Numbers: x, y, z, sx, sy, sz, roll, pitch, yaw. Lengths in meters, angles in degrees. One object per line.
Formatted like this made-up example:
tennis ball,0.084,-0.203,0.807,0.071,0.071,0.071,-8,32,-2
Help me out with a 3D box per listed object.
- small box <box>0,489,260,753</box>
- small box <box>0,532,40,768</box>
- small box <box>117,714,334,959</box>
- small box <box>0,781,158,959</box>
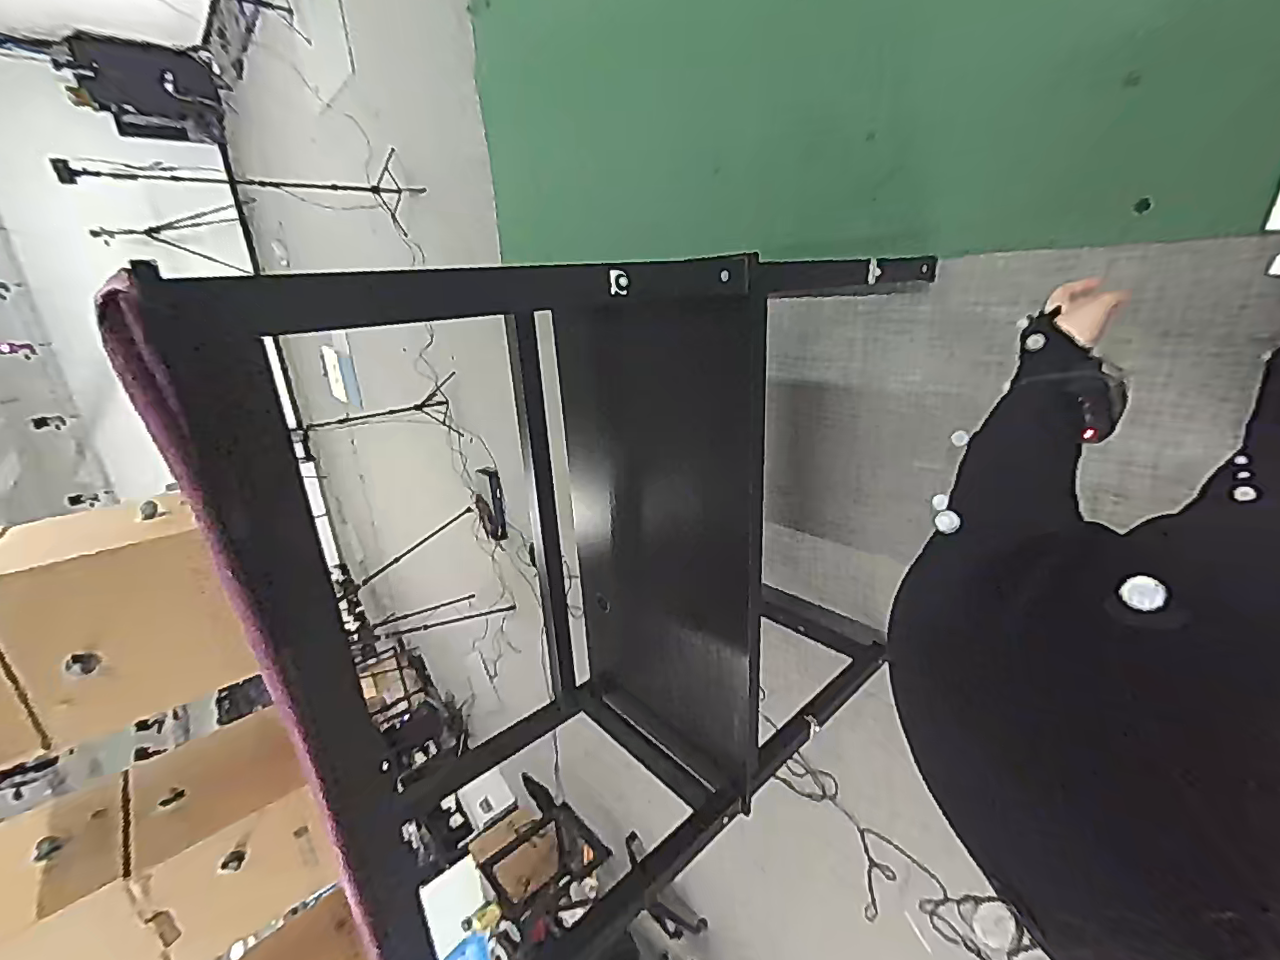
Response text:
small box,-0.516,0.127,0.558,0.168,0.176,0.179,19,119,49
small box,-0.645,0.168,0.468,0.168,0.176,0.179,19,119,48
small box,-0.490,0.423,0.654,0.179,0.176,0.168,20,119,46
small box,-0.614,0.464,0.554,0.168,0.176,0.179,20,119,44
